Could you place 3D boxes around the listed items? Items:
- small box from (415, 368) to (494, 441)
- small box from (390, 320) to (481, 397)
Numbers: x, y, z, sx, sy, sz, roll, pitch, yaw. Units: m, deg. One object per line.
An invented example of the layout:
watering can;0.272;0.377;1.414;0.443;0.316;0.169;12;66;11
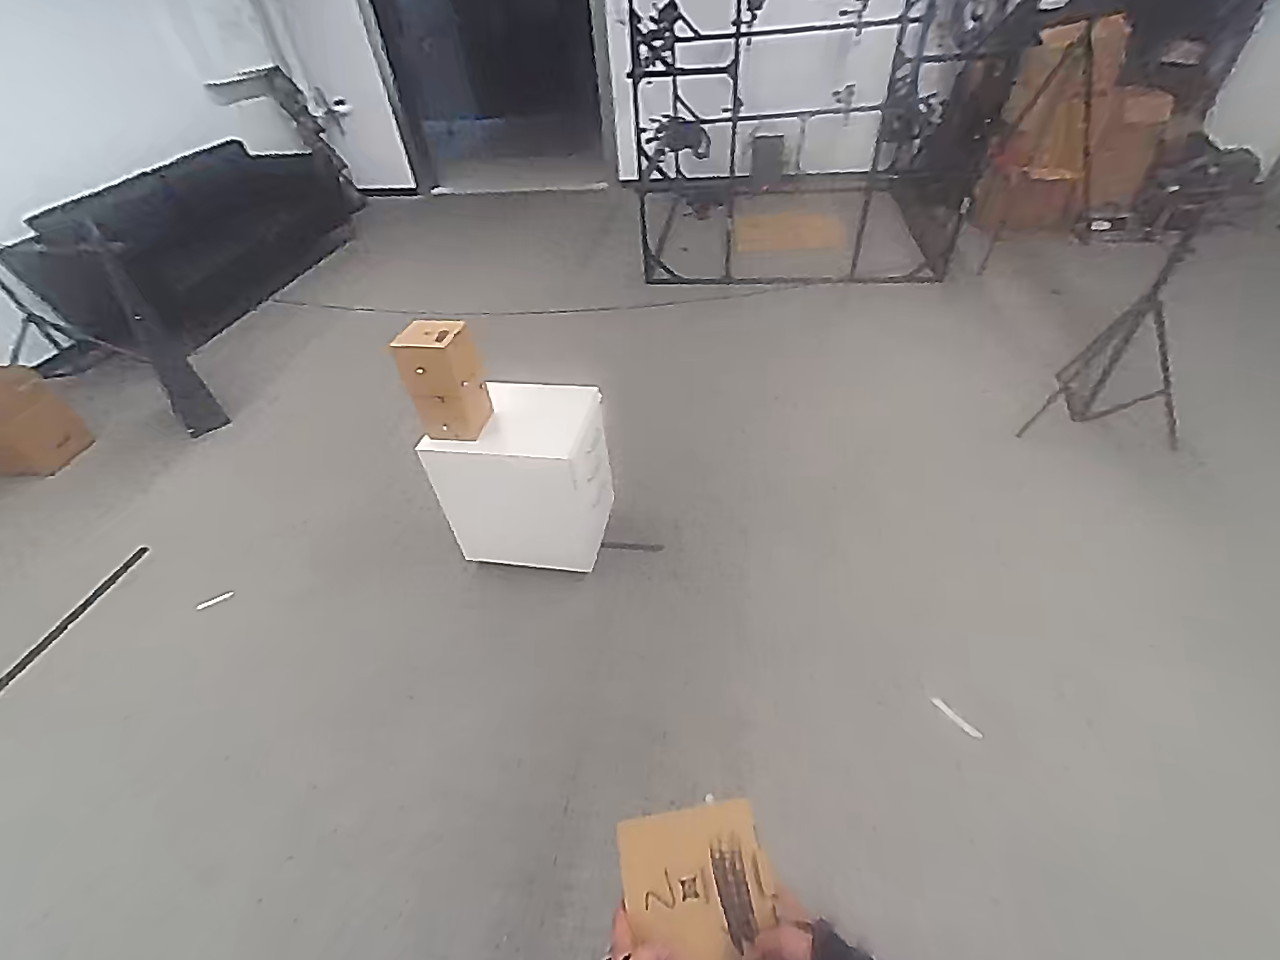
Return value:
small box;-0.584;-0.245;1.734;0.168;0.176;0.179;3;44;10
small box;-0.600;-0.361;1.618;0.179;0.176;0.168;3;43;11
